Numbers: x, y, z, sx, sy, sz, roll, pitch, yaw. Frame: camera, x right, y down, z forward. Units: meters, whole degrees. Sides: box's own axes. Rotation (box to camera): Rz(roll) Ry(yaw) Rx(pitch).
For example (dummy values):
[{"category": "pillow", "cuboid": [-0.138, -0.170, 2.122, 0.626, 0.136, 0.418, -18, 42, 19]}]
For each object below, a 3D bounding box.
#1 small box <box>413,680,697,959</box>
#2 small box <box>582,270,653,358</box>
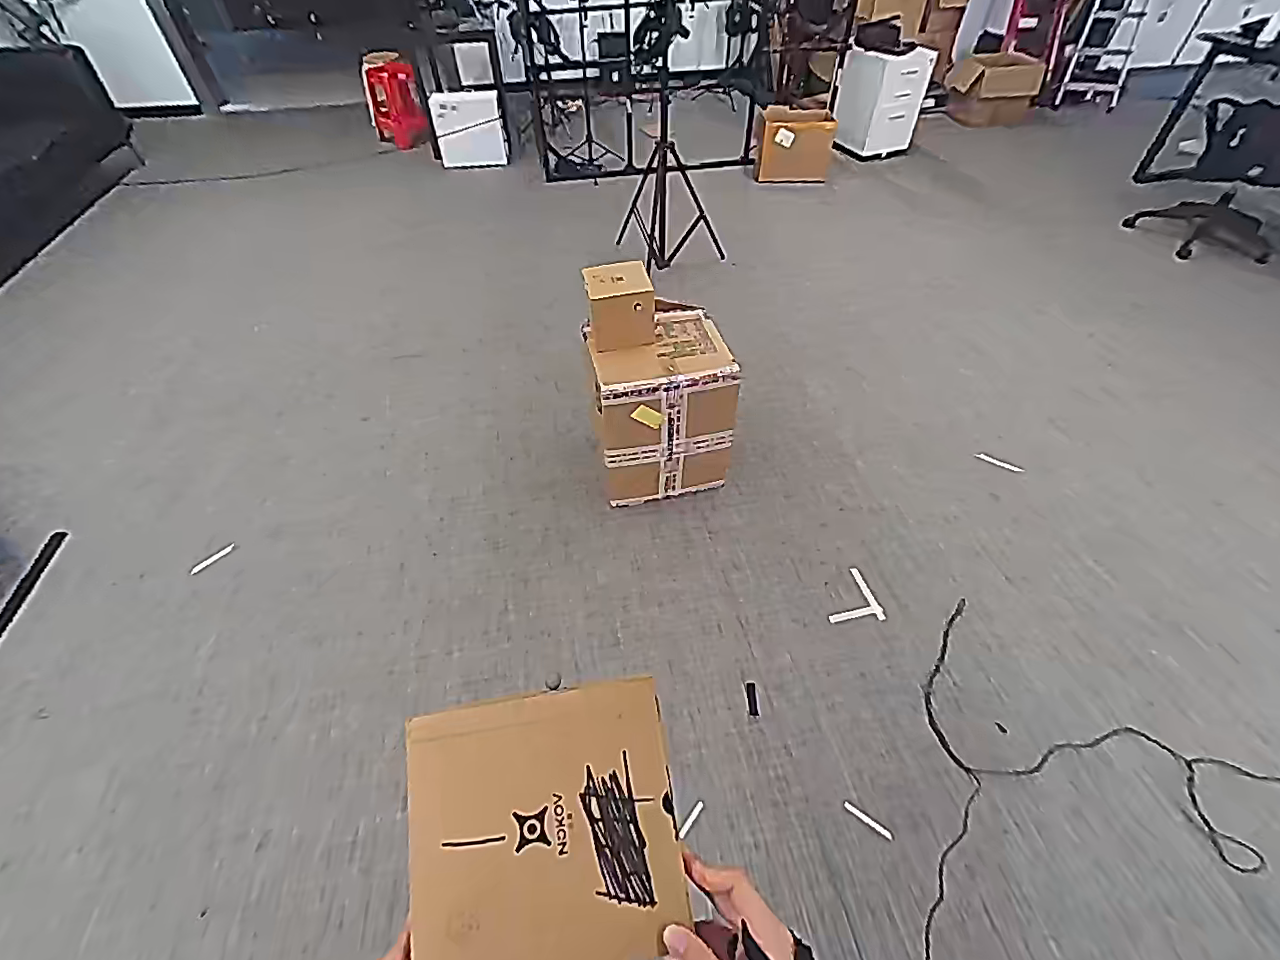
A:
[{"category": "small box", "cuboid": [-0.067, 0.260, 0.436, 0.179, 0.176, 0.168, -8, 70, -7]}, {"category": "small box", "cuboid": [-0.062, -0.471, 1.540, 0.179, 0.176, 0.168, -11, 49, -5]}]
